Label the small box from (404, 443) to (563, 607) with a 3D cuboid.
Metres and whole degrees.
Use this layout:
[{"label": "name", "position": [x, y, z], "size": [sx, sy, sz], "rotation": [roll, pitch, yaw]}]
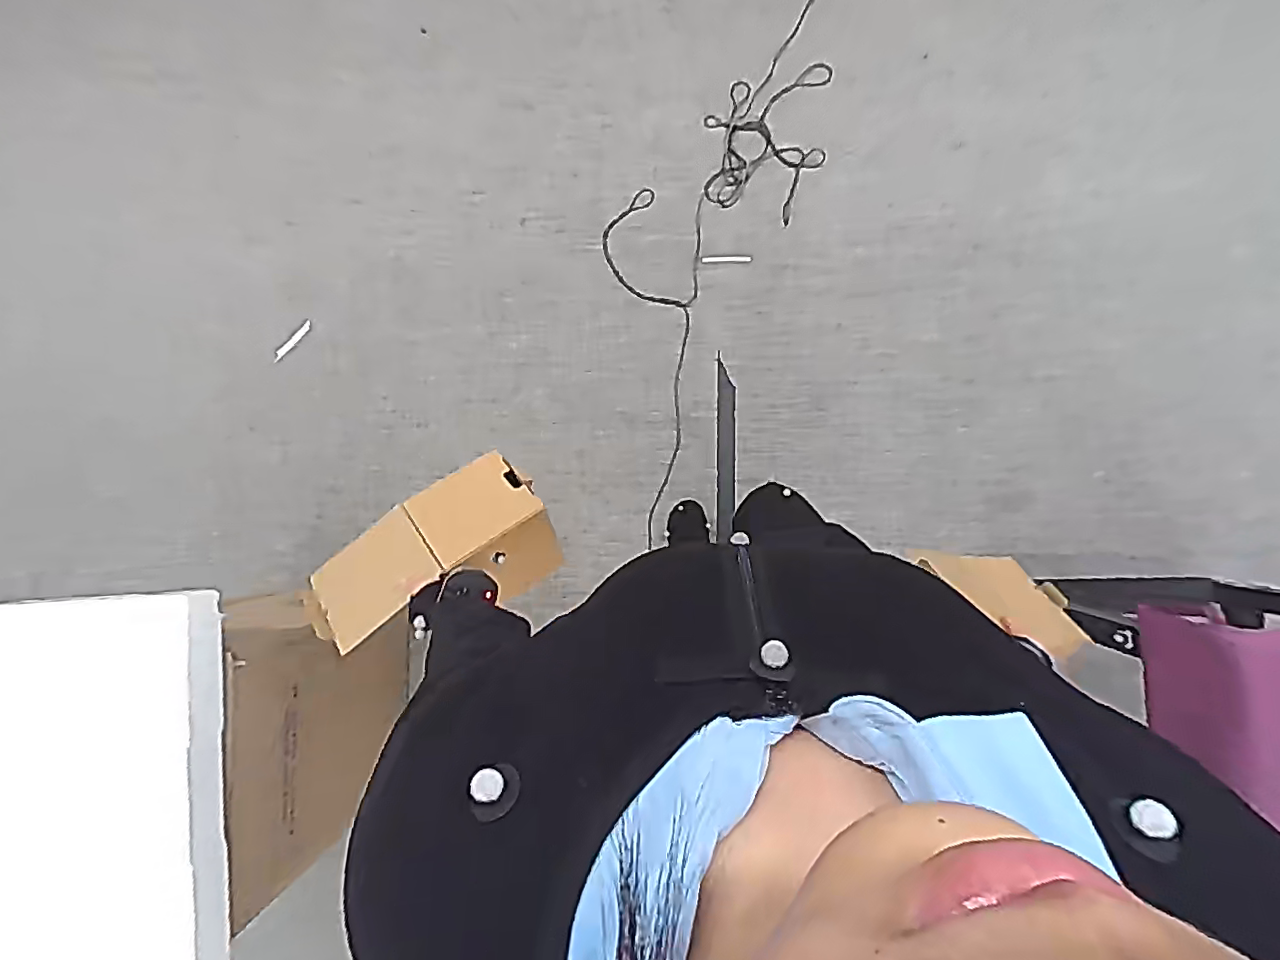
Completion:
[{"label": "small box", "position": [-0.252, 0.079, 0.902], "size": [0.179, 0.176, 0.168], "rotation": [-33, 56, -19]}]
